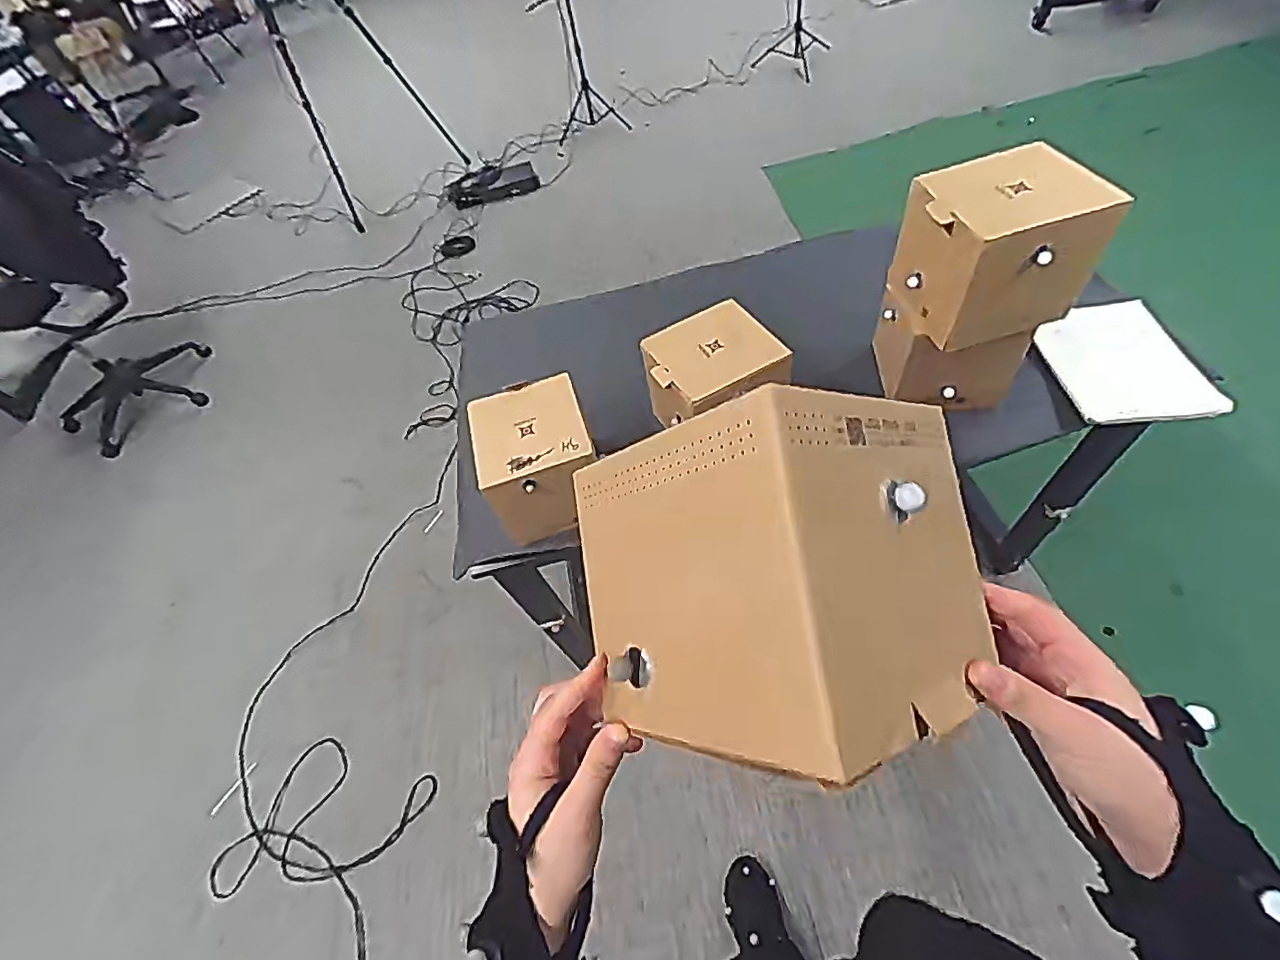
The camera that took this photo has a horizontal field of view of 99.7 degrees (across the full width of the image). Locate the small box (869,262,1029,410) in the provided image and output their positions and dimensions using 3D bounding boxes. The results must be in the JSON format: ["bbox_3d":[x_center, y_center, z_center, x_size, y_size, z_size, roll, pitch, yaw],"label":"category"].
[{"bbox_3d":[0.480,-0.235,0.873,0.168,0.176,0.179,-3,56,11],"label":"small box"}]

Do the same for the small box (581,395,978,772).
[{"bbox_3d":[0.074,0.057,0.348,0.168,0.179,0.176,-2,78,-37],"label":"small box"}]

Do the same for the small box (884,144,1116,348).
[{"bbox_3d":[0.459,-0.308,0.727,0.179,0.176,0.168,-16,53,2],"label":"small box"}]

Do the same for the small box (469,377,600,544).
[{"bbox_3d":[-0.156,-0.028,0.865,0.168,0.176,0.179,-19,54,-2],"label":"small box"}]

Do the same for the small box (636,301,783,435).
[{"bbox_3d":[0.117,-0.155,0.897,0.179,0.176,0.168,-28,56,-9],"label":"small box"}]
